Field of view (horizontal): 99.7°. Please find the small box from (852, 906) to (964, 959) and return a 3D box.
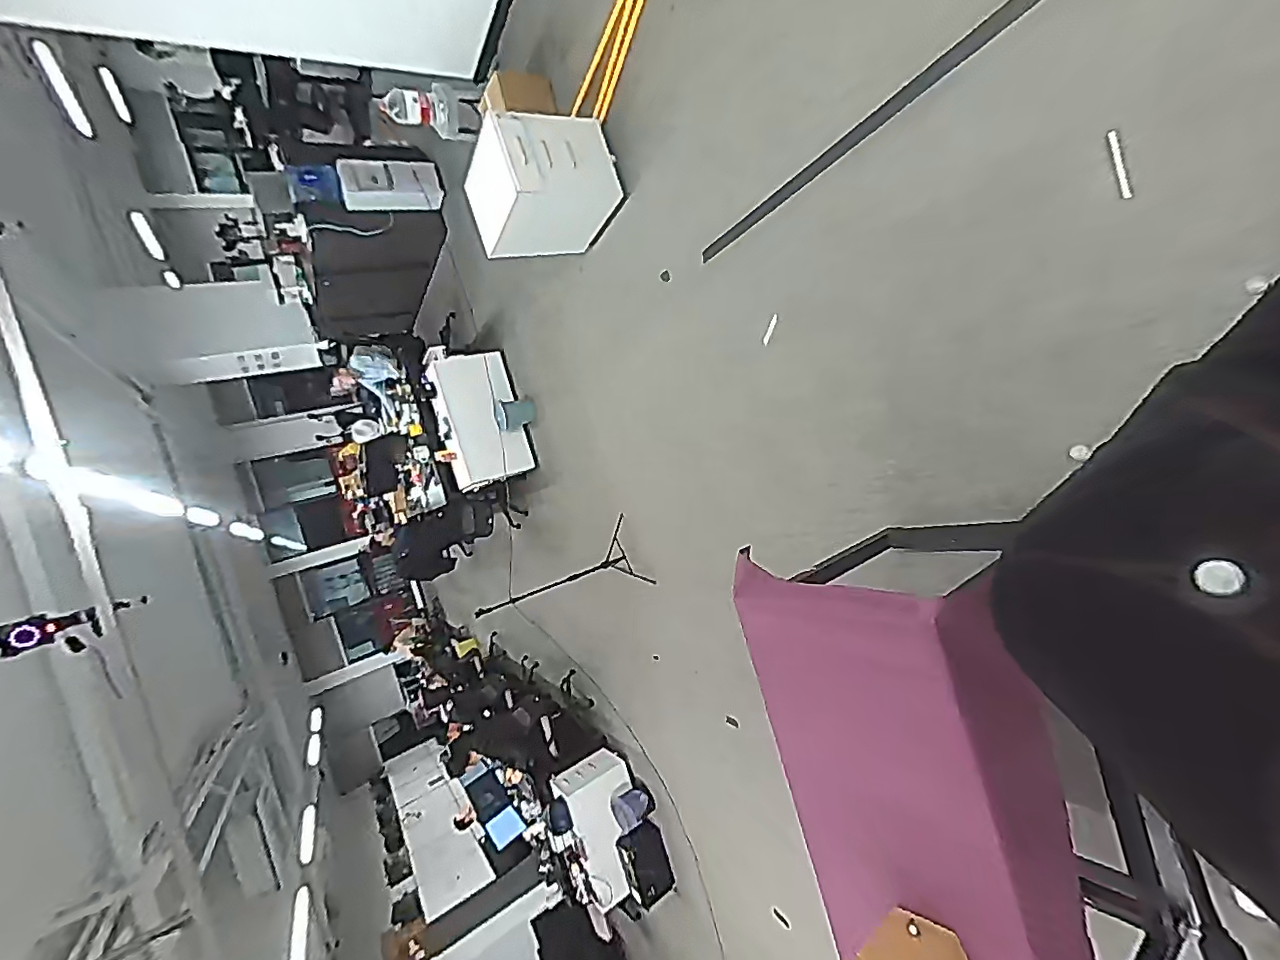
[{"bbox_3d":[0.627,1.129,1.222,0.168,0.176,0.179,-33,76,58],"label":"small box"}]
